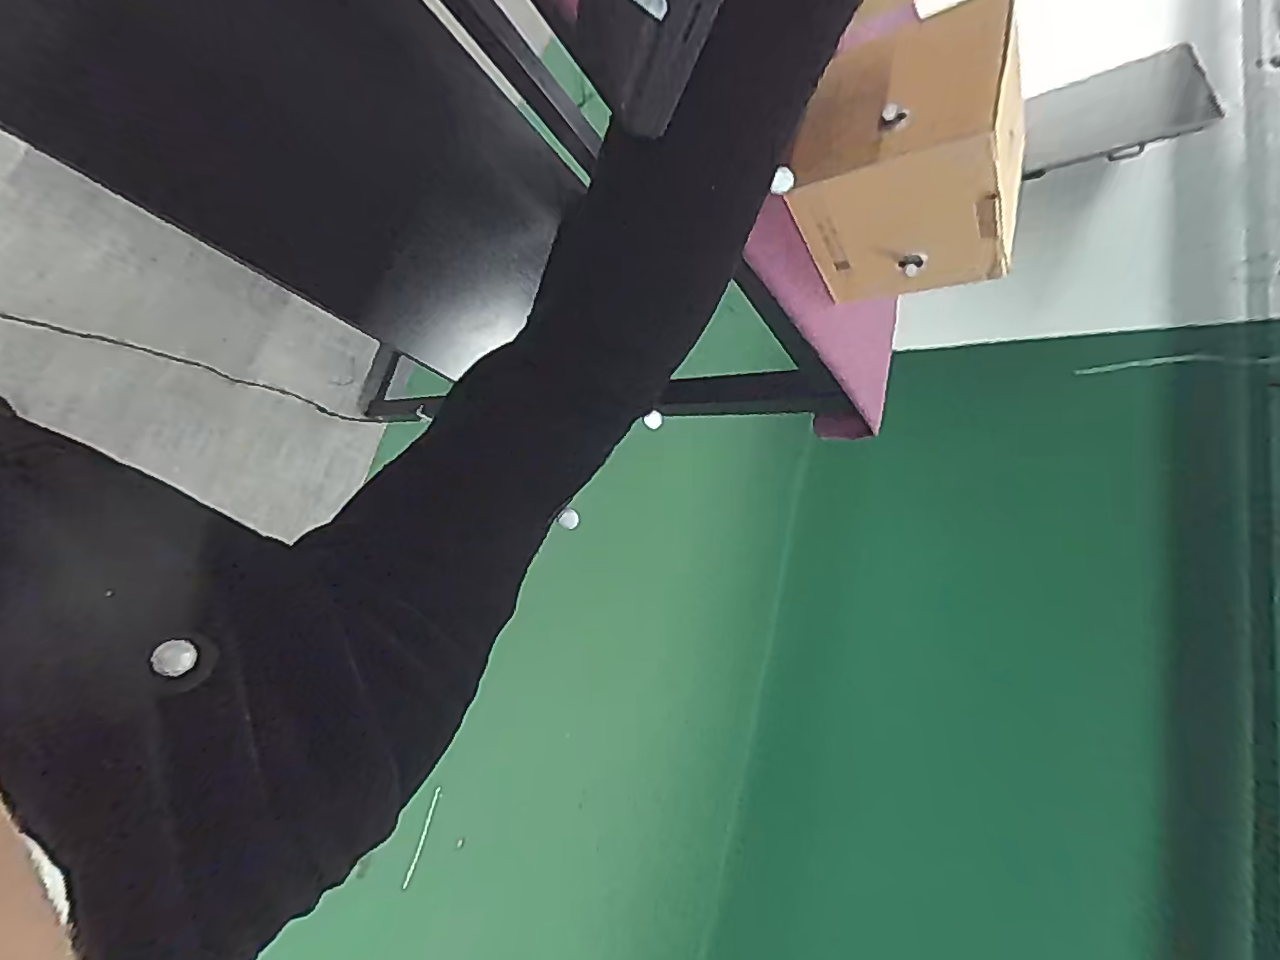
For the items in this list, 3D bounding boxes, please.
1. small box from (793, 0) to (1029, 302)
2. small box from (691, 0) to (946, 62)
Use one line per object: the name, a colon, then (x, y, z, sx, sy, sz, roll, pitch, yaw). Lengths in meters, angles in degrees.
small box: (0.264, -0.298, 0.525, 0.168, 0.176, 0.179, 37, 65, -47)
small box: (0.106, -0.395, 0.316, 0.179, 0.176, 0.168, 32, 68, -49)
